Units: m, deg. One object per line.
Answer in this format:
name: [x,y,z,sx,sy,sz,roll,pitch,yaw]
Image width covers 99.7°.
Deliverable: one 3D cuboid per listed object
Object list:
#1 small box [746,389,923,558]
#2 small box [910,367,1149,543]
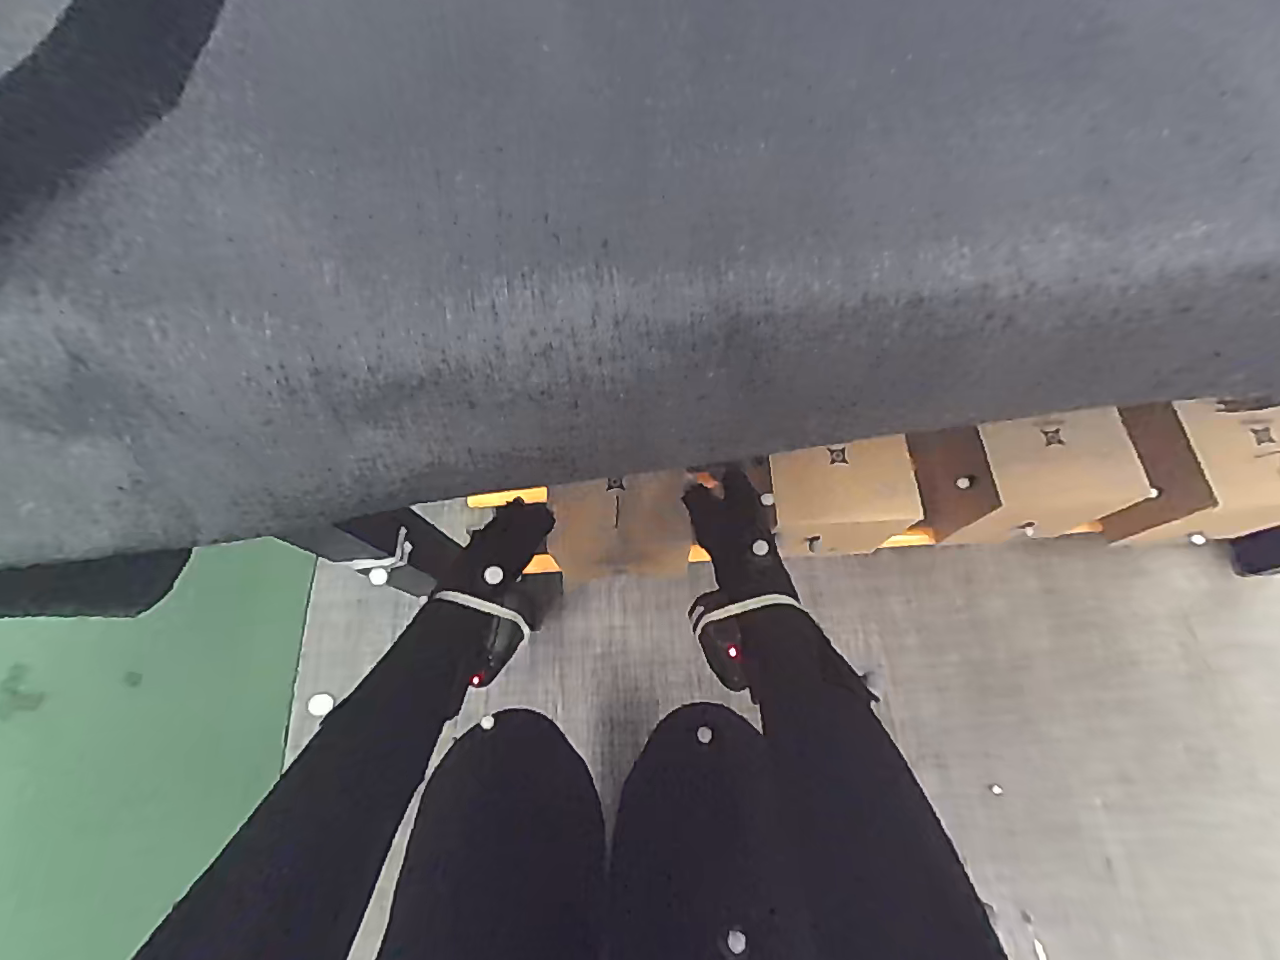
small box: [0.238,0.002,0.711,0.168,0.176,0.179,-3,67,2]
small box: [0.482,-0.022,0.704,0.168,0.176,0.179,-5,67,2]
